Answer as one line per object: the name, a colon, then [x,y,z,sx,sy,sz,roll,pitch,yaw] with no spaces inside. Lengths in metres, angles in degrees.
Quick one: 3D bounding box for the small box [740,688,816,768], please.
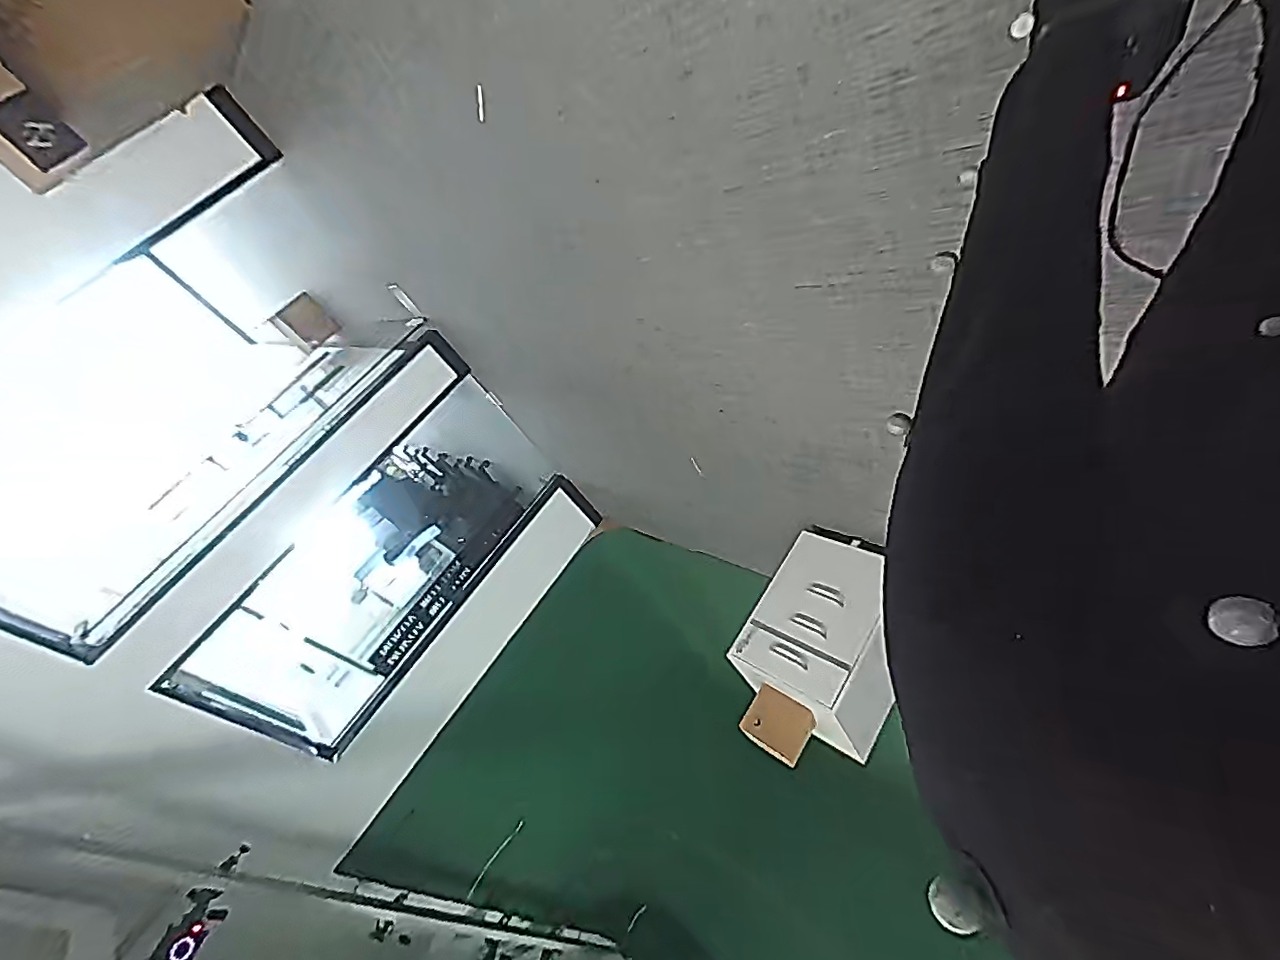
small box: [0.463,0.817,1.801,0.179,0.176,0.168,22,156,37]
